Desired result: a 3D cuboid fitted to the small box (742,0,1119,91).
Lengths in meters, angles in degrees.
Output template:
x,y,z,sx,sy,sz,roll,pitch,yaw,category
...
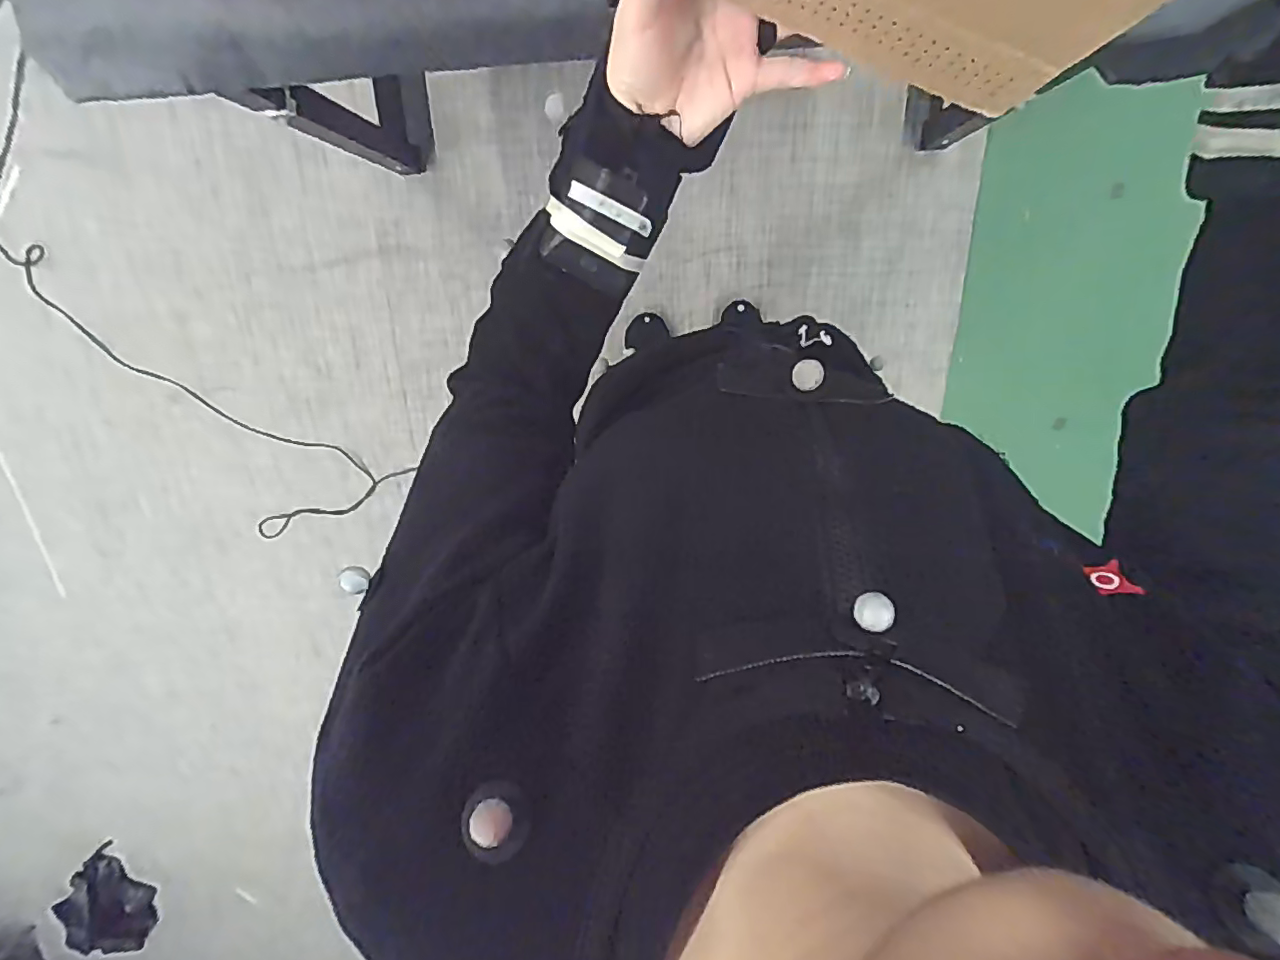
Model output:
x,y,z,sx,sy,sz,roll,pitch,yaw,category
0.118,-0.262,0.161,0.179,0.176,0.168,18,102,-6,small box
